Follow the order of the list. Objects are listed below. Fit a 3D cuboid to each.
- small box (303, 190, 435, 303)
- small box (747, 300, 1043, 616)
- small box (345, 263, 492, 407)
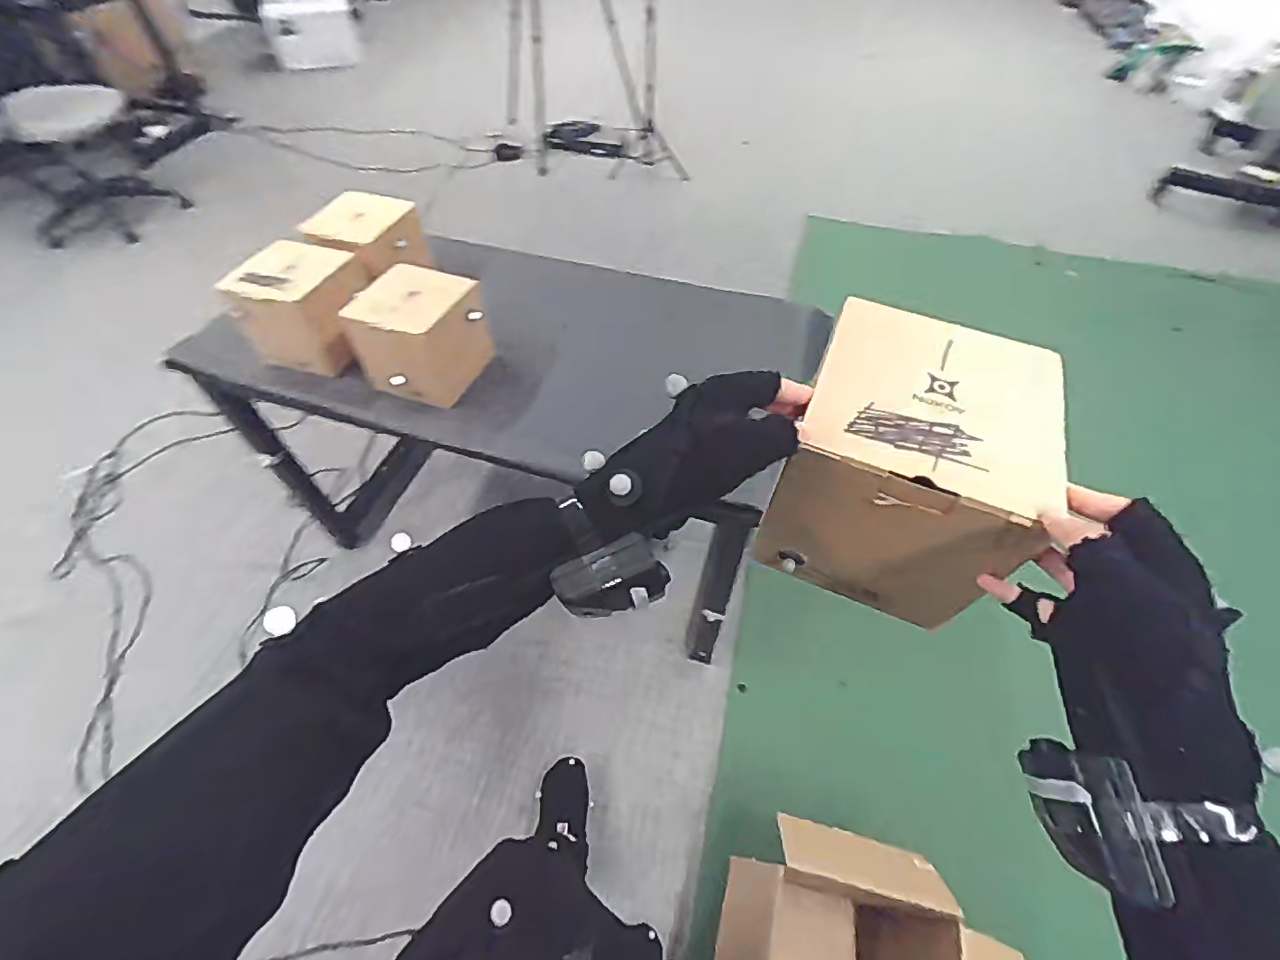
[{"bbox_3d":[-0.569,-0.491,1.168,0.168,0.176,0.179,16,55,10],"label":"small box"},{"bbox_3d":[0.198,-0.013,0.452,0.168,0.176,0.179,20,56,12],"label":"small box"},{"bbox_3d":[-0.392,-0.267,0.999,0.168,0.176,0.179,17,54,12],"label":"small box"}]
